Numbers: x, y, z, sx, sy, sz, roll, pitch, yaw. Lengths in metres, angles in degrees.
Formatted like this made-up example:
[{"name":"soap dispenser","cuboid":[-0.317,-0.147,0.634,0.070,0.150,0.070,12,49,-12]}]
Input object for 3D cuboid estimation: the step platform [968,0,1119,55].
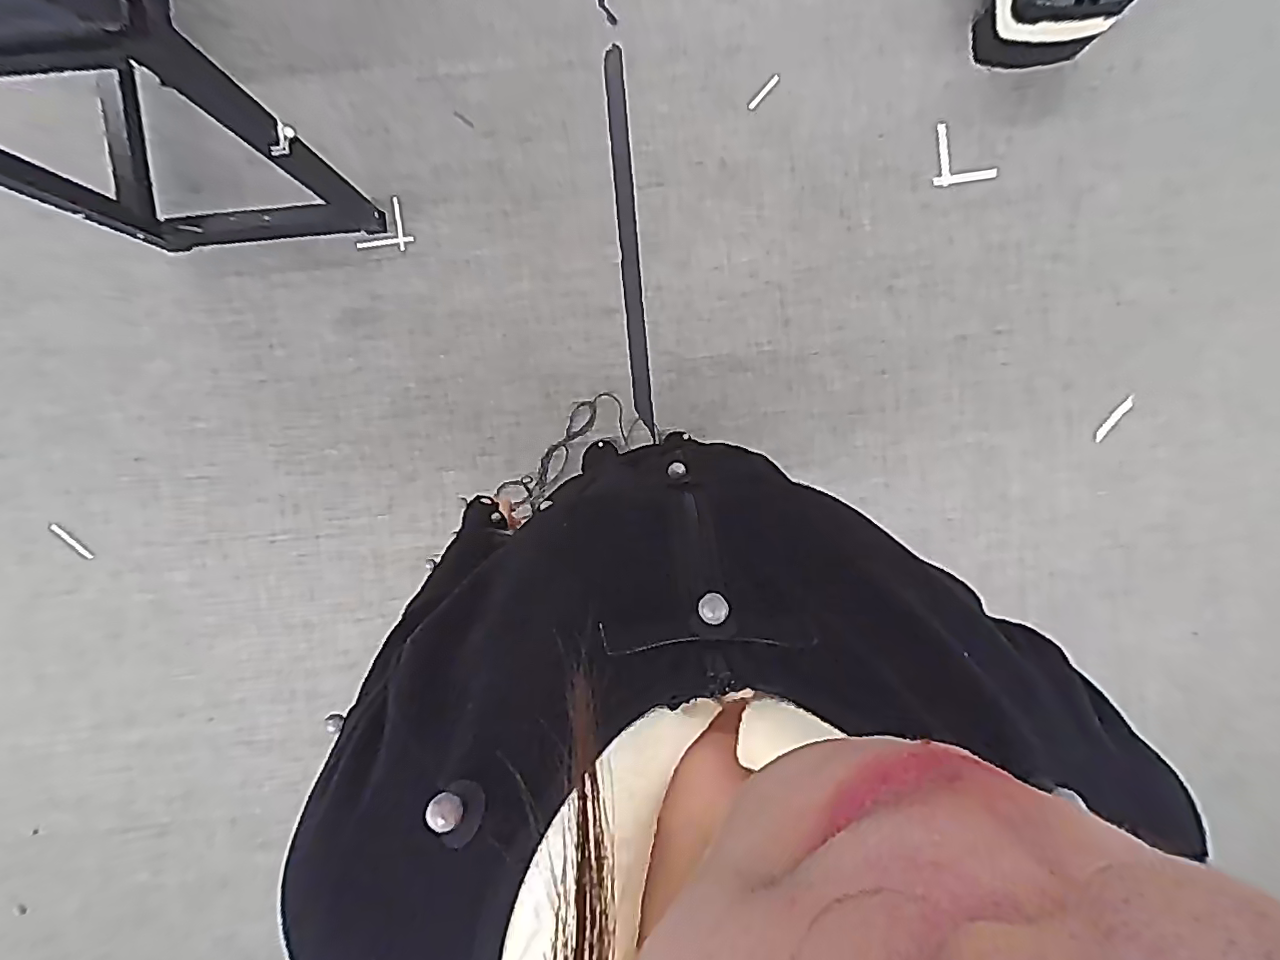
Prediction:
[{"name":"step platform","cuboid":[0.994,-1.437,1.286,0.286,0.204,0.684,0,94,-1]}]
